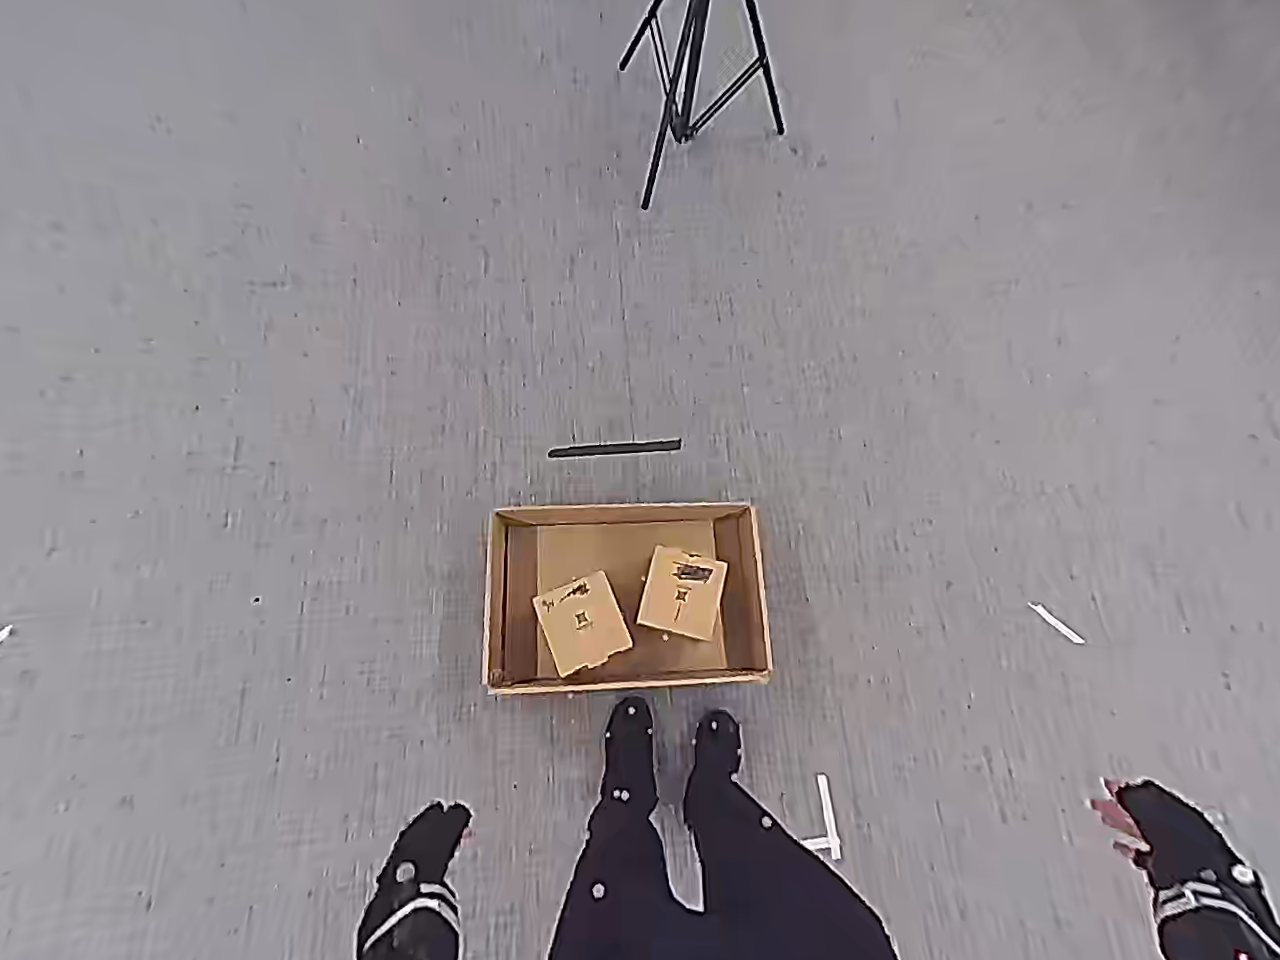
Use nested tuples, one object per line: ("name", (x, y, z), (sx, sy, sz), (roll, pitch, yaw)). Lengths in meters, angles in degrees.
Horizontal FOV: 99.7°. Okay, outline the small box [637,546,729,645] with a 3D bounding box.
("small box", (0.092, 0.269, 1.241), (0.168, 0.176, 0.179), (15, 73, 2))
